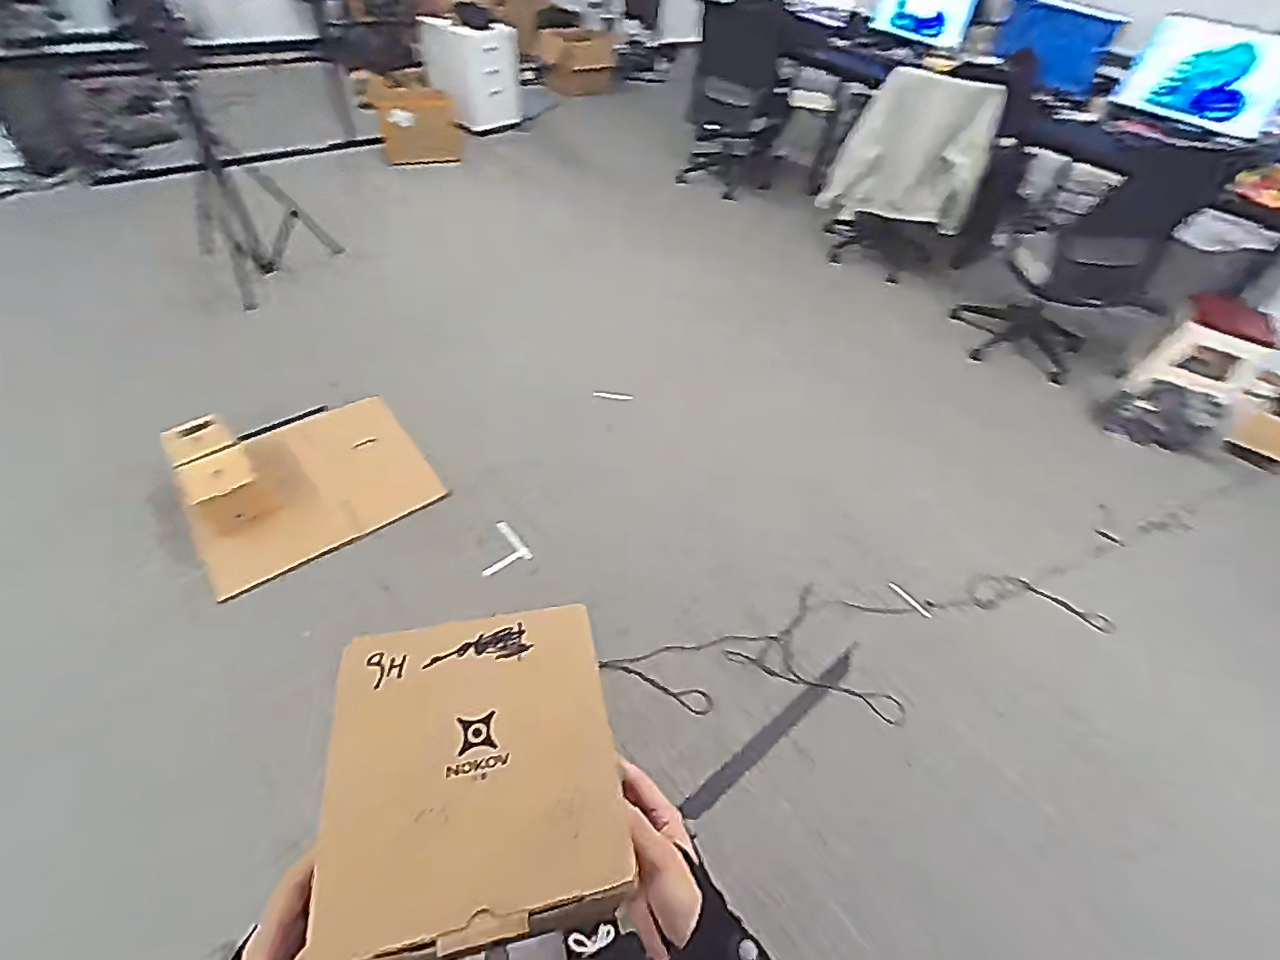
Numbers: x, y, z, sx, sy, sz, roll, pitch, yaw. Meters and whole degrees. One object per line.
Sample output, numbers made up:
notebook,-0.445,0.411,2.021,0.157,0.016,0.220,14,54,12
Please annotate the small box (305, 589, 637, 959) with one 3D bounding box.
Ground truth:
small box,-0.107,0.204,0.380,0.168,0.176,0.179,-6,50,-15
